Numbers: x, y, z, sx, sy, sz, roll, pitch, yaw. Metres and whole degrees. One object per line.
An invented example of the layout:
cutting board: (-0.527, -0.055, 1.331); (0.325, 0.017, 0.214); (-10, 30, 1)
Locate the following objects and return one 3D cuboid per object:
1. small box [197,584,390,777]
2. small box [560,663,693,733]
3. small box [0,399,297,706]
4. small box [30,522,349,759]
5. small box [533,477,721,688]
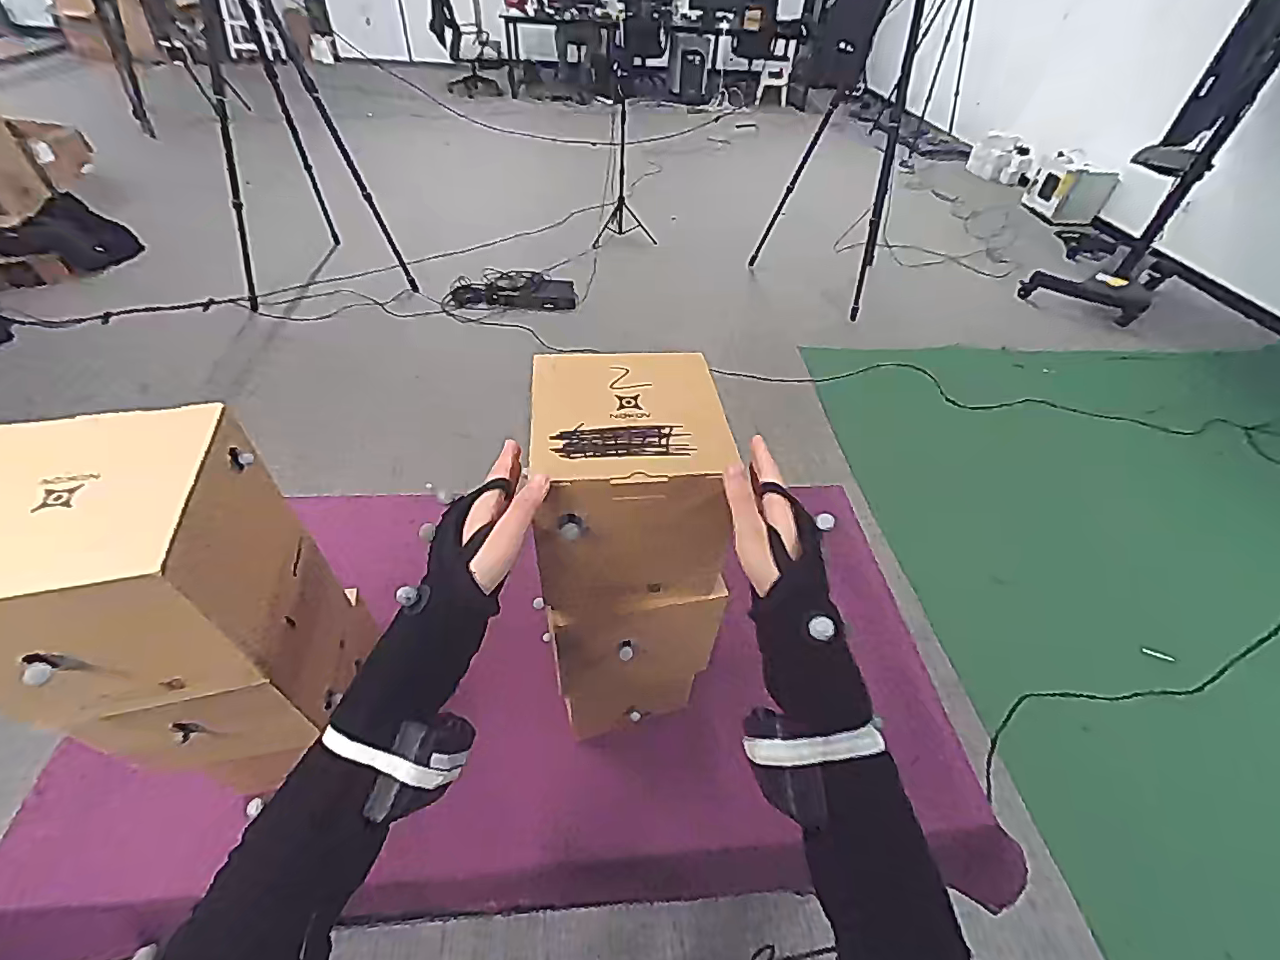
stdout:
small box: (-0.435, 0.260, 0.693); (0.168, 0.176, 0.179); (-5, 46, -10)
small box: (-0.036, 0.220, 0.757); (0.168, 0.176, 0.179); (-11, 48, -13)
small box: (-0.405, 0.061, 0.434); (0.168, 0.176, 0.179); (-8, 47, -13)
small box: (-0.425, 0.165, 0.557); (0.179, 0.176, 0.168); (-6, 47, -10)
small box: (-0.022, 0.121, 0.626); (0.179, 0.176, 0.168); (-7, 48, -10)
